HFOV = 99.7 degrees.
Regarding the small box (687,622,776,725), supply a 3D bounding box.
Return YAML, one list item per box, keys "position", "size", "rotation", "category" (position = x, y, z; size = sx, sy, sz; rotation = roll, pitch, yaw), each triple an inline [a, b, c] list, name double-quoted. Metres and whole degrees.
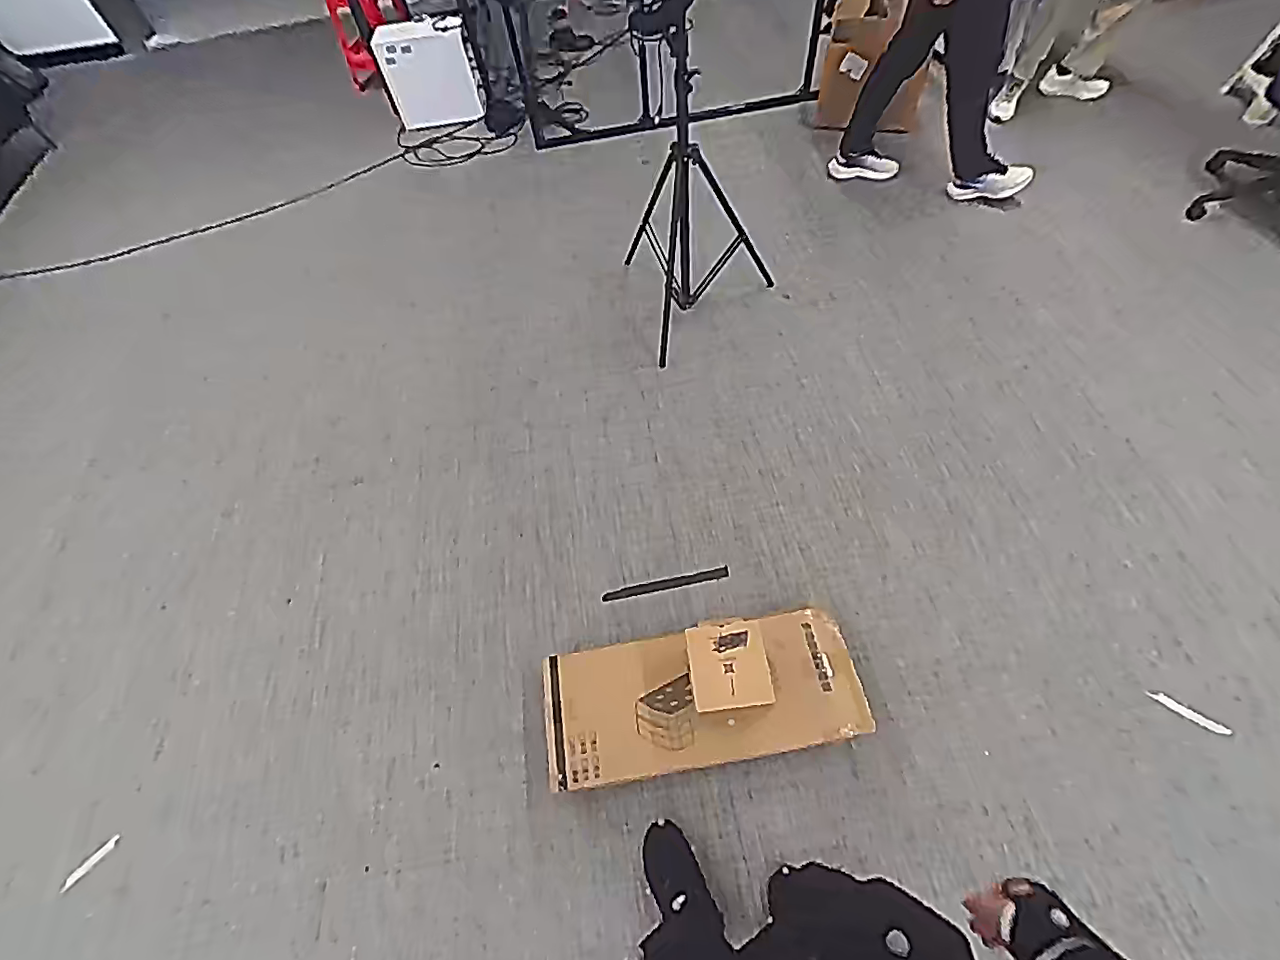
- position: [0.195, 0.437, 1.214]
  size: [0.168, 0.176, 0.179]
  rotation: [-8, 59, 1]
  category: "small box"
